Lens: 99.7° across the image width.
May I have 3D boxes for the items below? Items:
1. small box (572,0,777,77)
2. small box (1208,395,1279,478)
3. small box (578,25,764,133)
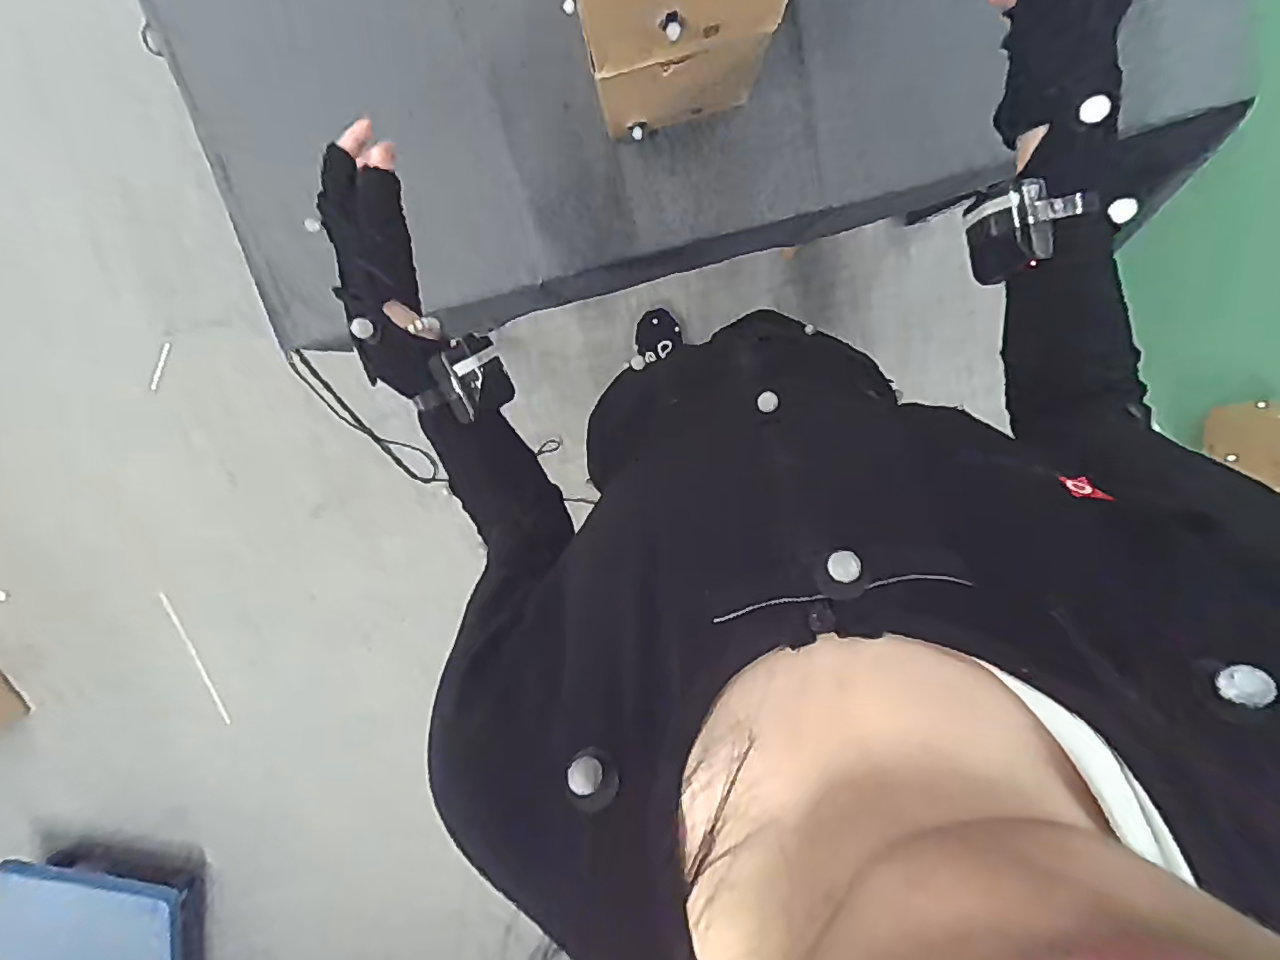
[{"bbox_3d":[0.014,-0.442,0.388,0.168,0.176,0.179,-13,104,5],"label":"small box"},{"bbox_3d":[1.570,-0.111,1.330,0.179,0.176,0.168,-8,104,4],"label":"small box"},{"bbox_3d":[0.018,-0.483,0.545,0.168,0.176,0.179,-13,103,5],"label":"small box"}]
